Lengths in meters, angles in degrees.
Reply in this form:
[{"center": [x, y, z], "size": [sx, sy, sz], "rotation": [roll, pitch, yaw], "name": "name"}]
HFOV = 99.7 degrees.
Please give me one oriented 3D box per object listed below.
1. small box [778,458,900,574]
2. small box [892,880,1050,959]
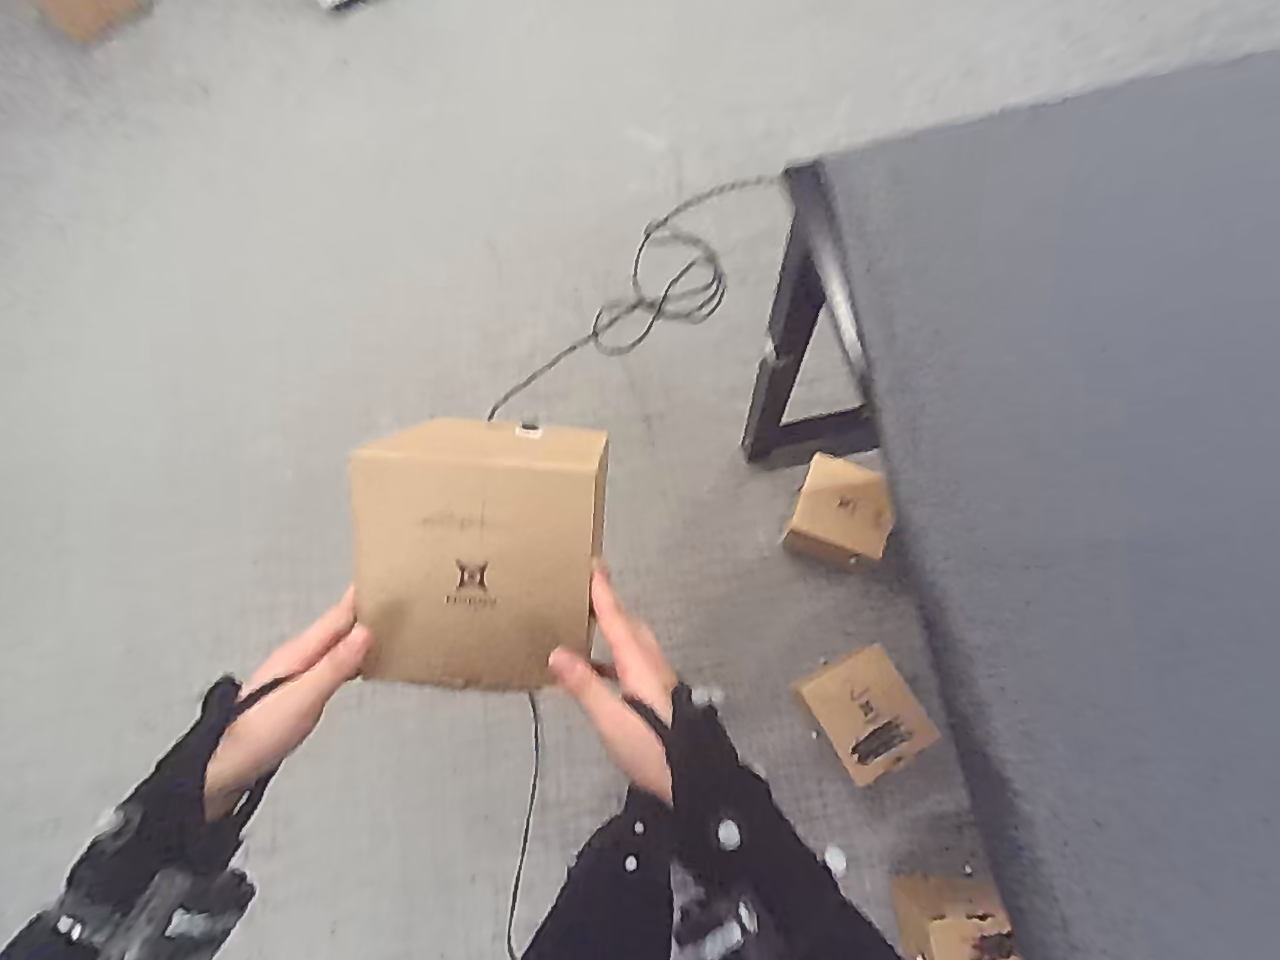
[{"center": [0.397, 0.081, 1.110], "size": [0.179, 0.176, 0.168], "rotation": [20, 73, 11], "name": "small box"}, {"center": [0.521, 0.759, 0.852], "size": [0.168, 0.176, 0.179], "rotation": [-7, 71, 3], "name": "small box"}]
